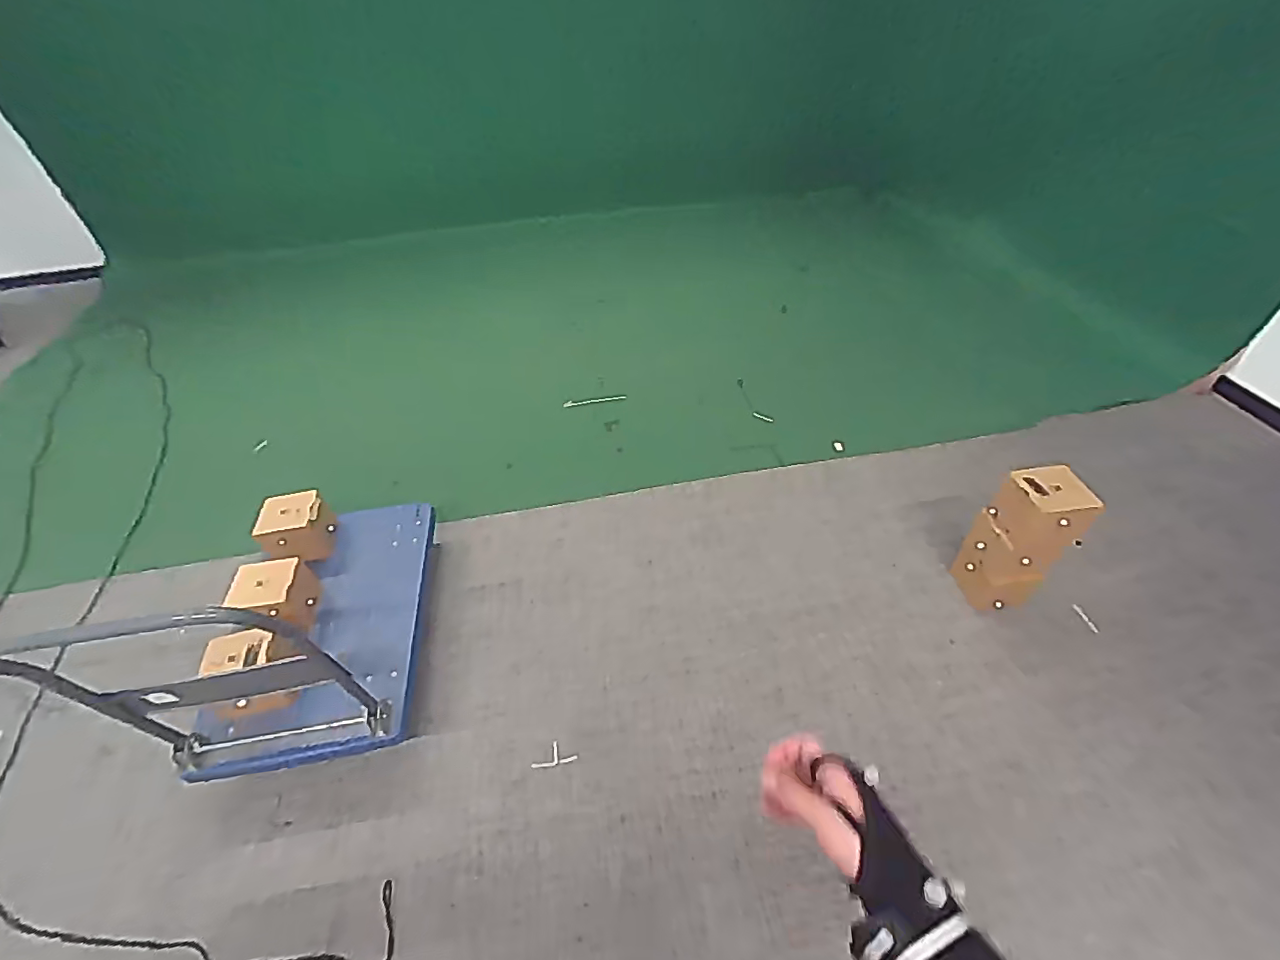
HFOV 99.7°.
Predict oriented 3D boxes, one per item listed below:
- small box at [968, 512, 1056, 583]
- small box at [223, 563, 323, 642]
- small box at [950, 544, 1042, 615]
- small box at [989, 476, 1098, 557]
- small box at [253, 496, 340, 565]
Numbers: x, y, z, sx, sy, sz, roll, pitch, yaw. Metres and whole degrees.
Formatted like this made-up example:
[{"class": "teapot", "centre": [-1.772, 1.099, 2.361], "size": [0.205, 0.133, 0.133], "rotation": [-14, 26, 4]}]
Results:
[{"class": "small box", "centre": [1.164, 0.209, 1.697], "size": [0.179, 0.176, 0.168], "rotation": [-7, 45, 0]}, {"class": "small box", "centre": [-1.115, 0.379, 1.659], "size": [0.179, 0.176, 0.168], "rotation": [-7, 45, -5]}, {"class": "small box", "centre": [1.178, 0.328, 1.808], "size": [0.168, 0.176, 0.179], "rotation": [-6, 45, -1]}, {"class": "small box", "centre": [1.165, 0.110, 1.586], "size": [0.179, 0.176, 0.168], "rotation": [-6, 45, -2]}, {"class": "small box", "centre": [-1.166, 0.182, 1.852], "size": [0.179, 0.176, 0.168], "rotation": [-9, 47, -5]}]
